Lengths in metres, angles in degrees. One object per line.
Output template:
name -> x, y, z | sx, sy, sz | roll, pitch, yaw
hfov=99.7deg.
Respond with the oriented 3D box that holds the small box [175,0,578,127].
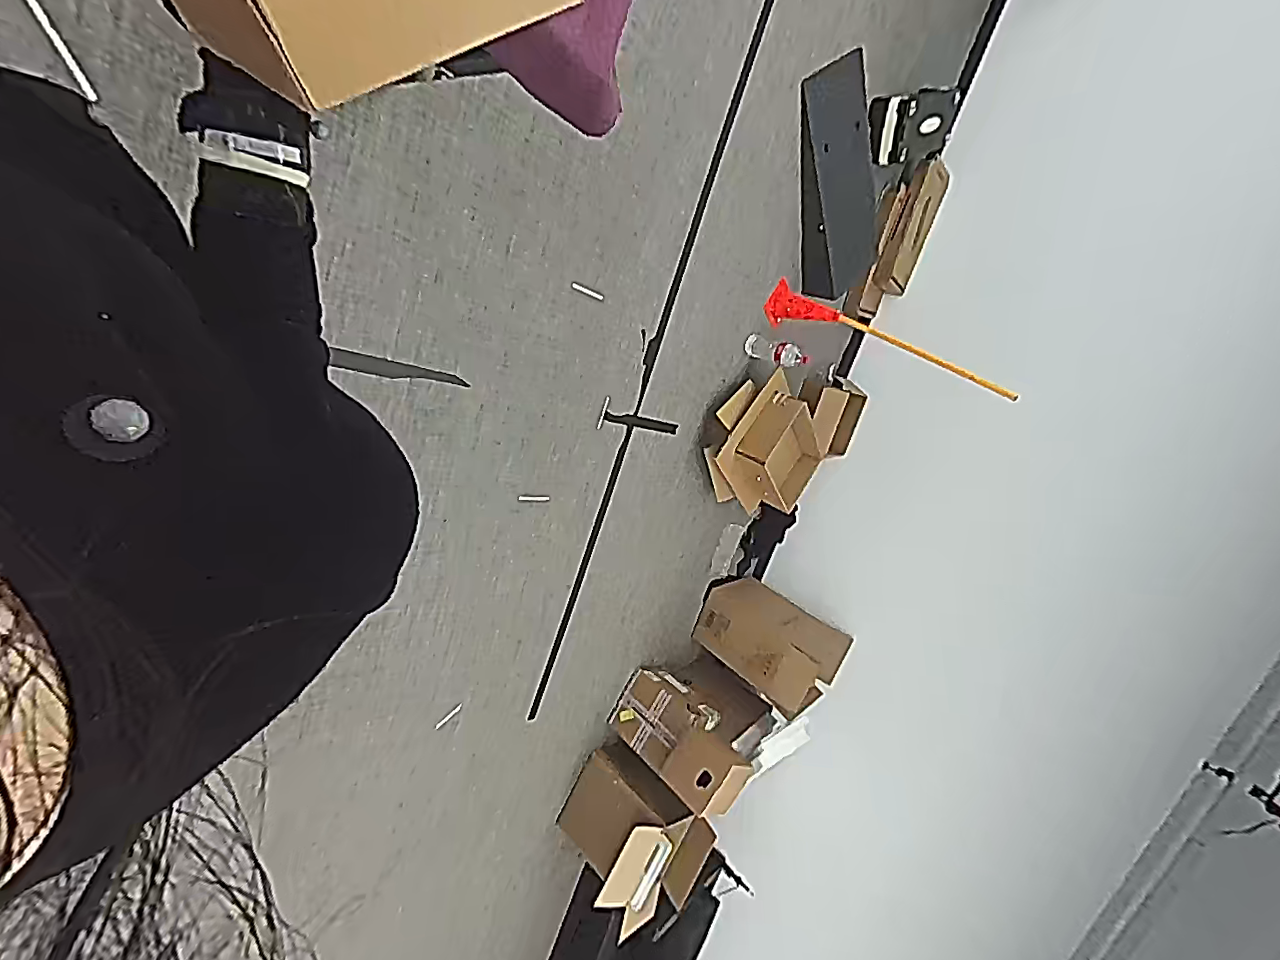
small box -> -0.159, -0.320, 0.268 | 0.179, 0.176, 0.168 | -40, 153, -19
